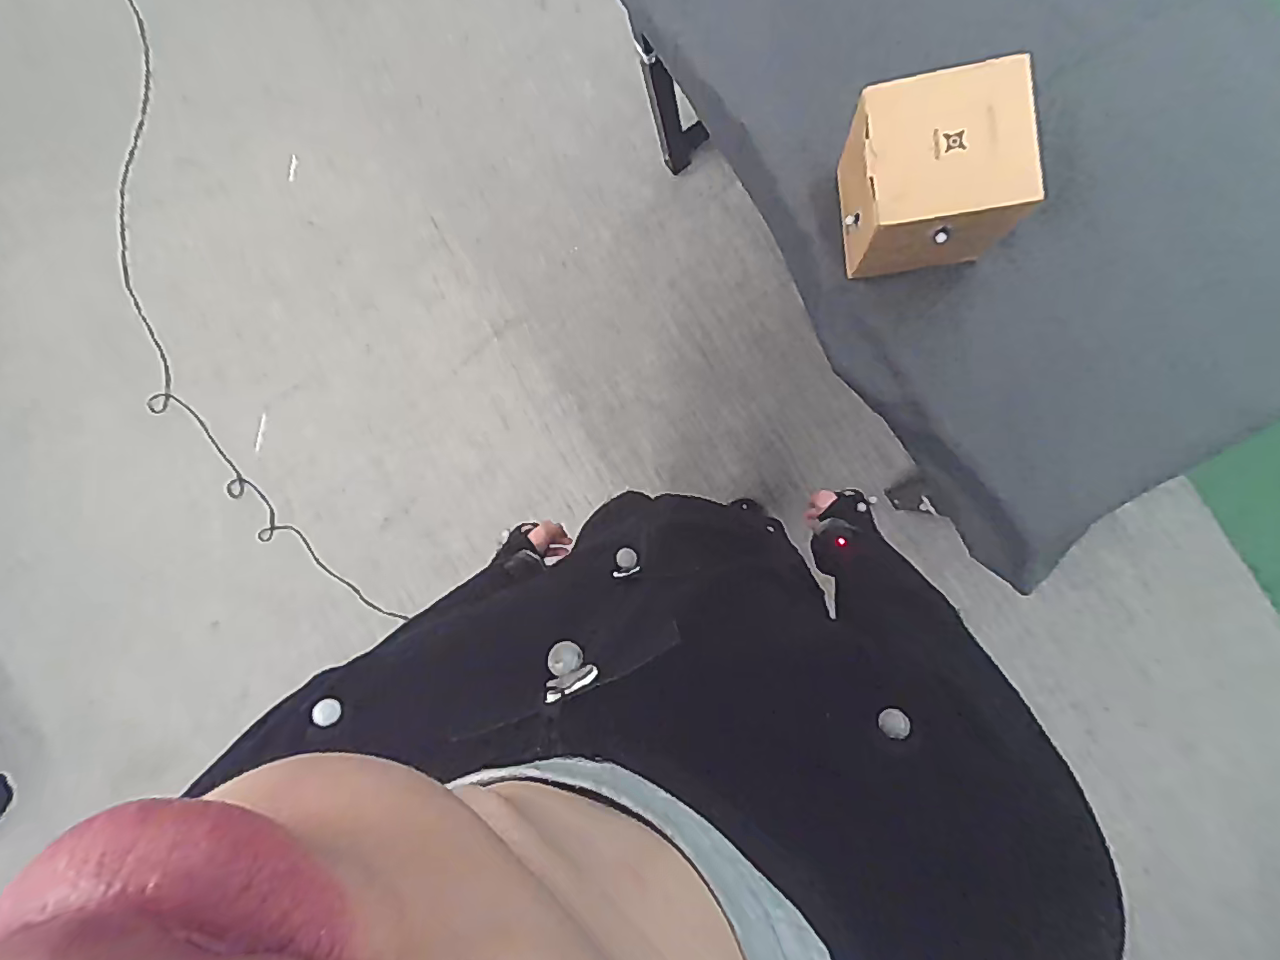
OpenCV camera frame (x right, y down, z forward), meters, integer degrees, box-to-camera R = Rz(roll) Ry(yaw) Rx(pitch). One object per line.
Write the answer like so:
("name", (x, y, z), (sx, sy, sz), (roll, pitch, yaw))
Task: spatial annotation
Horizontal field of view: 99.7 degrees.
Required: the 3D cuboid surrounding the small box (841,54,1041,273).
("small box", (0.362, -0.380, 0.686), (0.179, 0.176, 0.168), (-6, 90, 9))
